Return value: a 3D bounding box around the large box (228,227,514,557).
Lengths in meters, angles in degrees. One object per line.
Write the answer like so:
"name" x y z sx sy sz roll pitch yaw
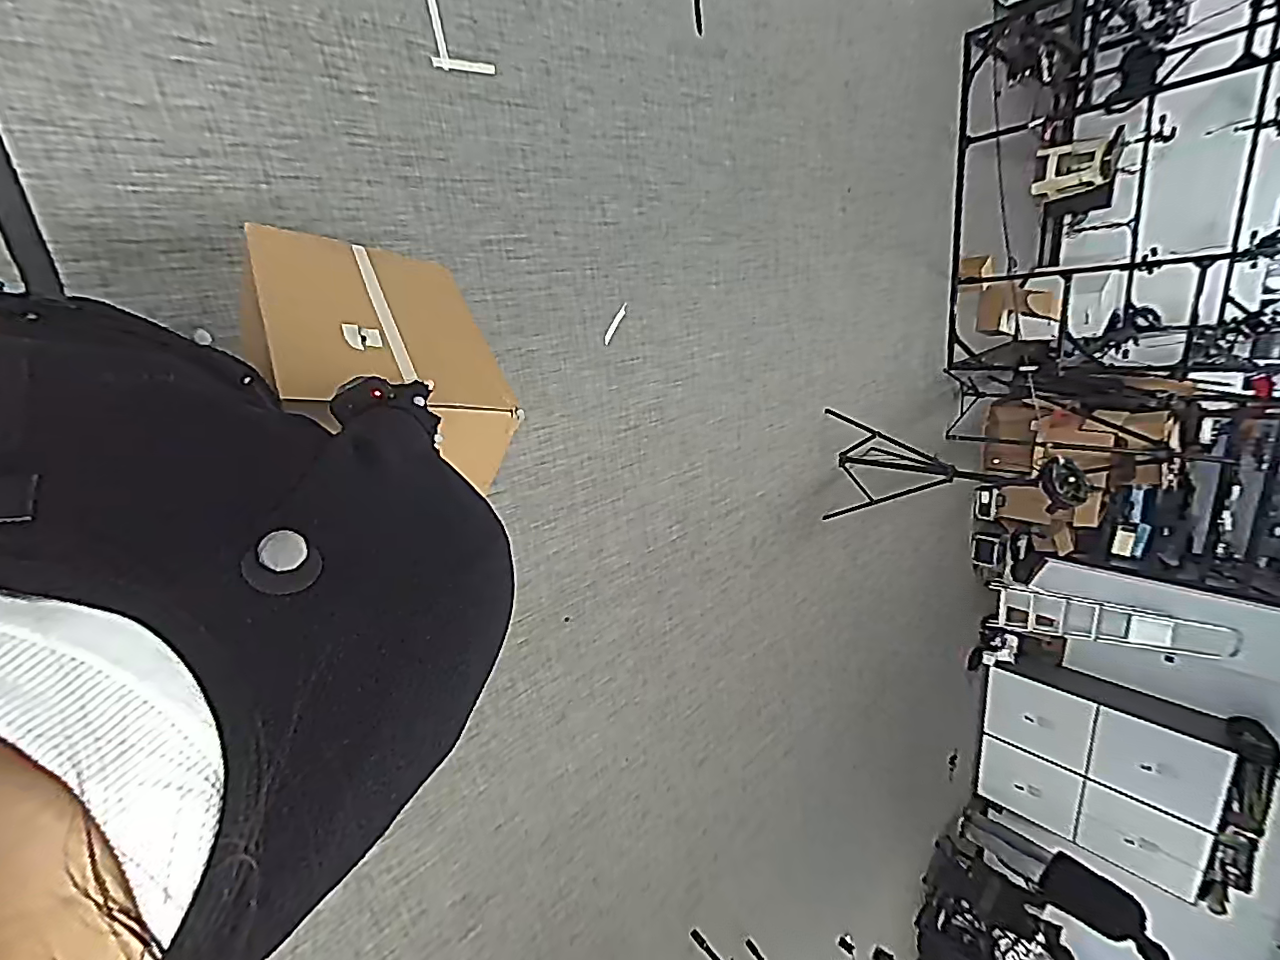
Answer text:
"large box" -0.466 -0.136 0.895 0.320 0.408 0.320 -4 141 -40
